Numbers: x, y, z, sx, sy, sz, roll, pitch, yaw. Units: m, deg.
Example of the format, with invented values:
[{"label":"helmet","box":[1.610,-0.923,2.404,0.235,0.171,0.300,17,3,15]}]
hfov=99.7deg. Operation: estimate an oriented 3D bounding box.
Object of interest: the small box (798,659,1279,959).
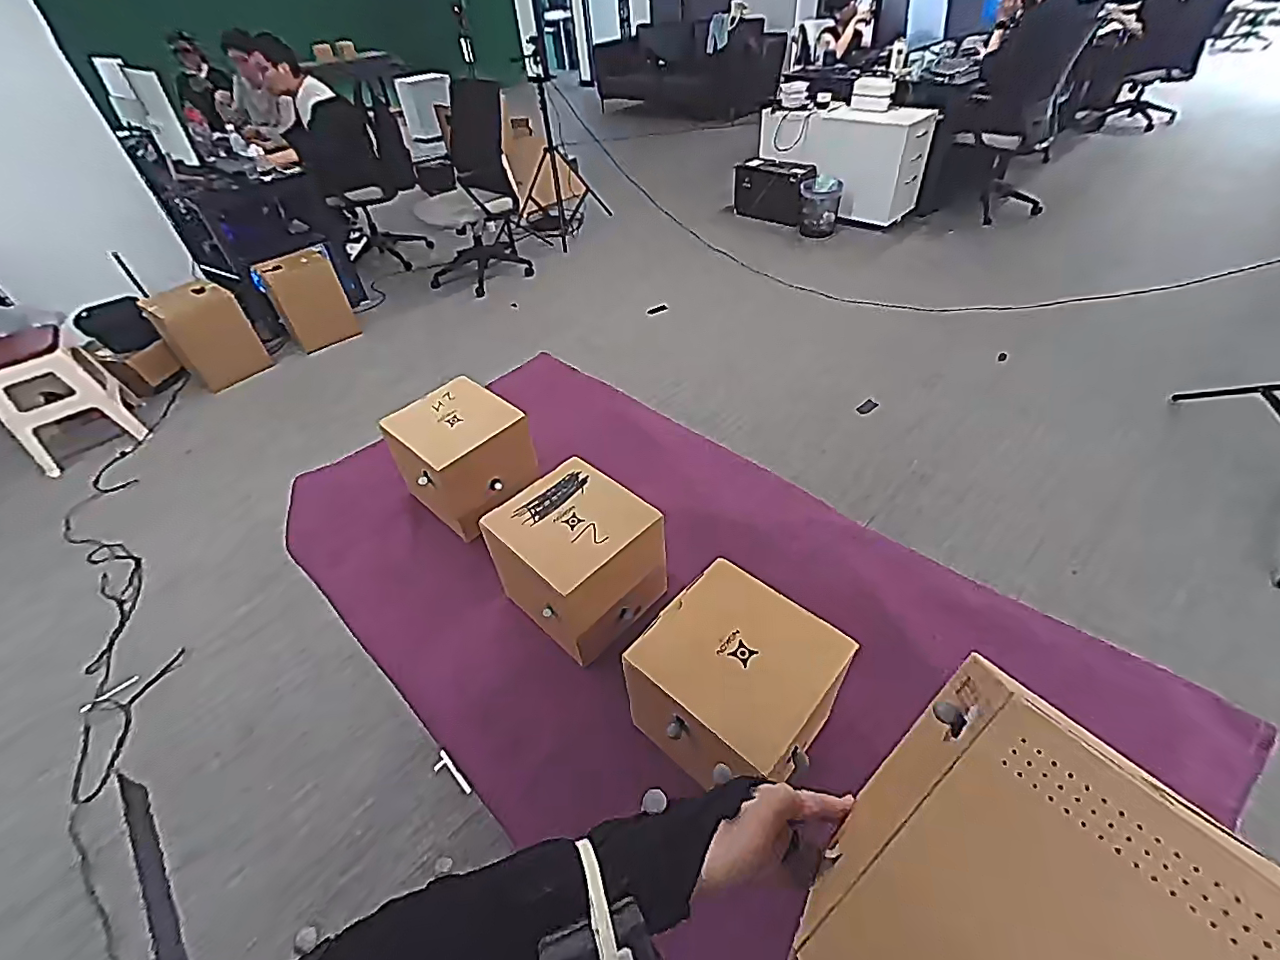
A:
[{"label":"small box","box":[0.215,0.219,0.284,0.179,0.168,0.176,37,97,28]}]

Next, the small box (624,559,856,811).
[{"label":"small box","box":[0.106,0.229,0.599,0.179,0.176,0.168,30,54,32]}]

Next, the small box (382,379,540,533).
[{"label":"small box","box":[-0.290,-0.036,0.910,0.179,0.176,0.168,32,54,30]}]
